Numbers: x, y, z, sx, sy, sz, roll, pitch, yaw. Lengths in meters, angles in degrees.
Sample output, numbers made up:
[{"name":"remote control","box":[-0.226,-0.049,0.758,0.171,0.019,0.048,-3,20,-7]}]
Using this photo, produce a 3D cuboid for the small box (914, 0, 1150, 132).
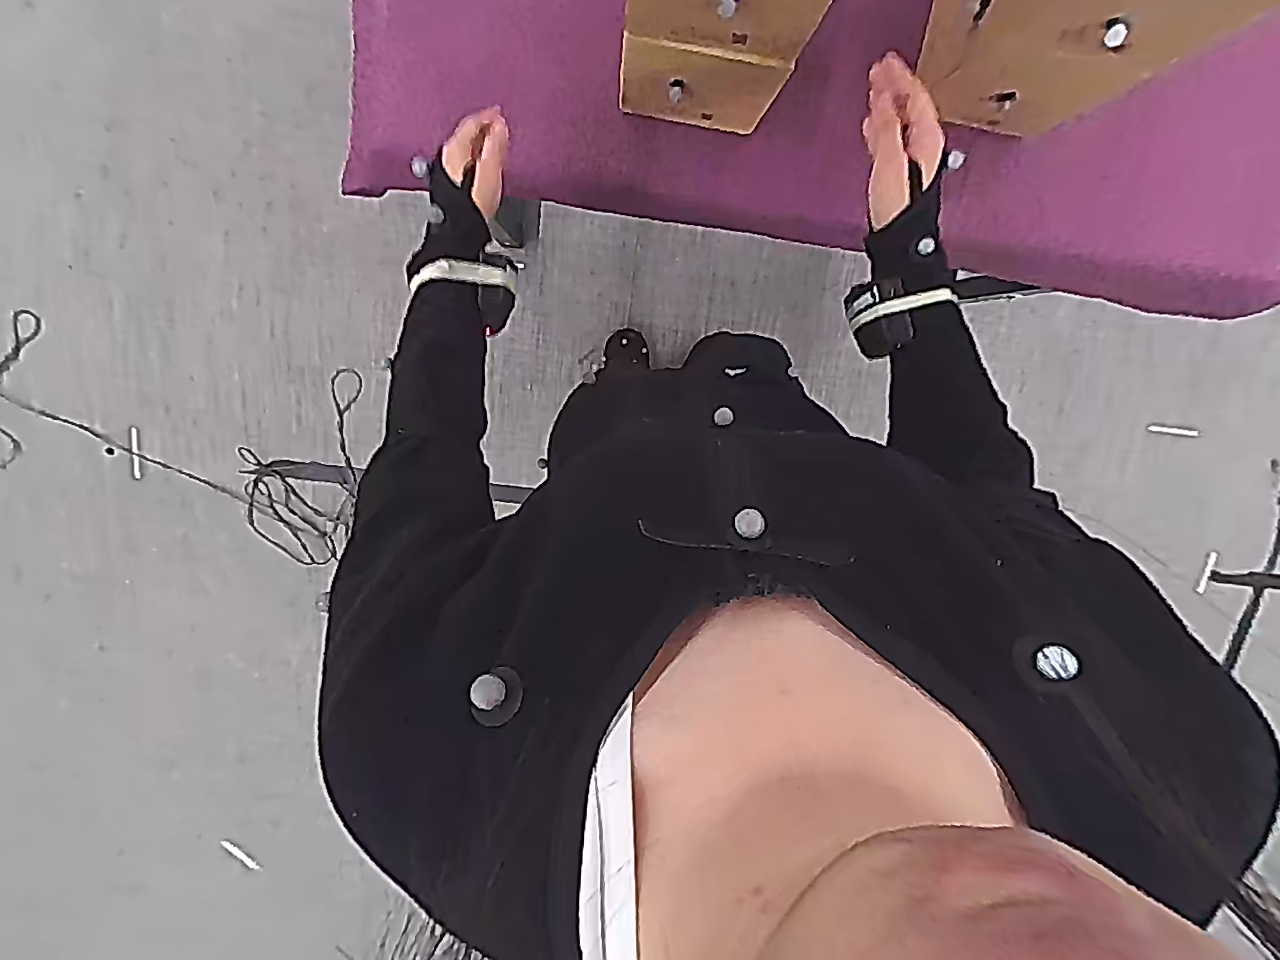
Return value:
[{"name":"small box","box":[0.428,-0.510,0.582,0.168,0.176,0.179,9,102,-6]}]

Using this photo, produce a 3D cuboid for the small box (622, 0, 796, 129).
[{"name":"small box","box":[0.073,-0.501,0.565,0.168,0.176,0.179,7,102,-5]}]

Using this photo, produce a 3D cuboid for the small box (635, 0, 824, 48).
[{"name":"small box","box":[0.082,-0.470,0.404,0.168,0.176,0.179,5,103,-5]}]
